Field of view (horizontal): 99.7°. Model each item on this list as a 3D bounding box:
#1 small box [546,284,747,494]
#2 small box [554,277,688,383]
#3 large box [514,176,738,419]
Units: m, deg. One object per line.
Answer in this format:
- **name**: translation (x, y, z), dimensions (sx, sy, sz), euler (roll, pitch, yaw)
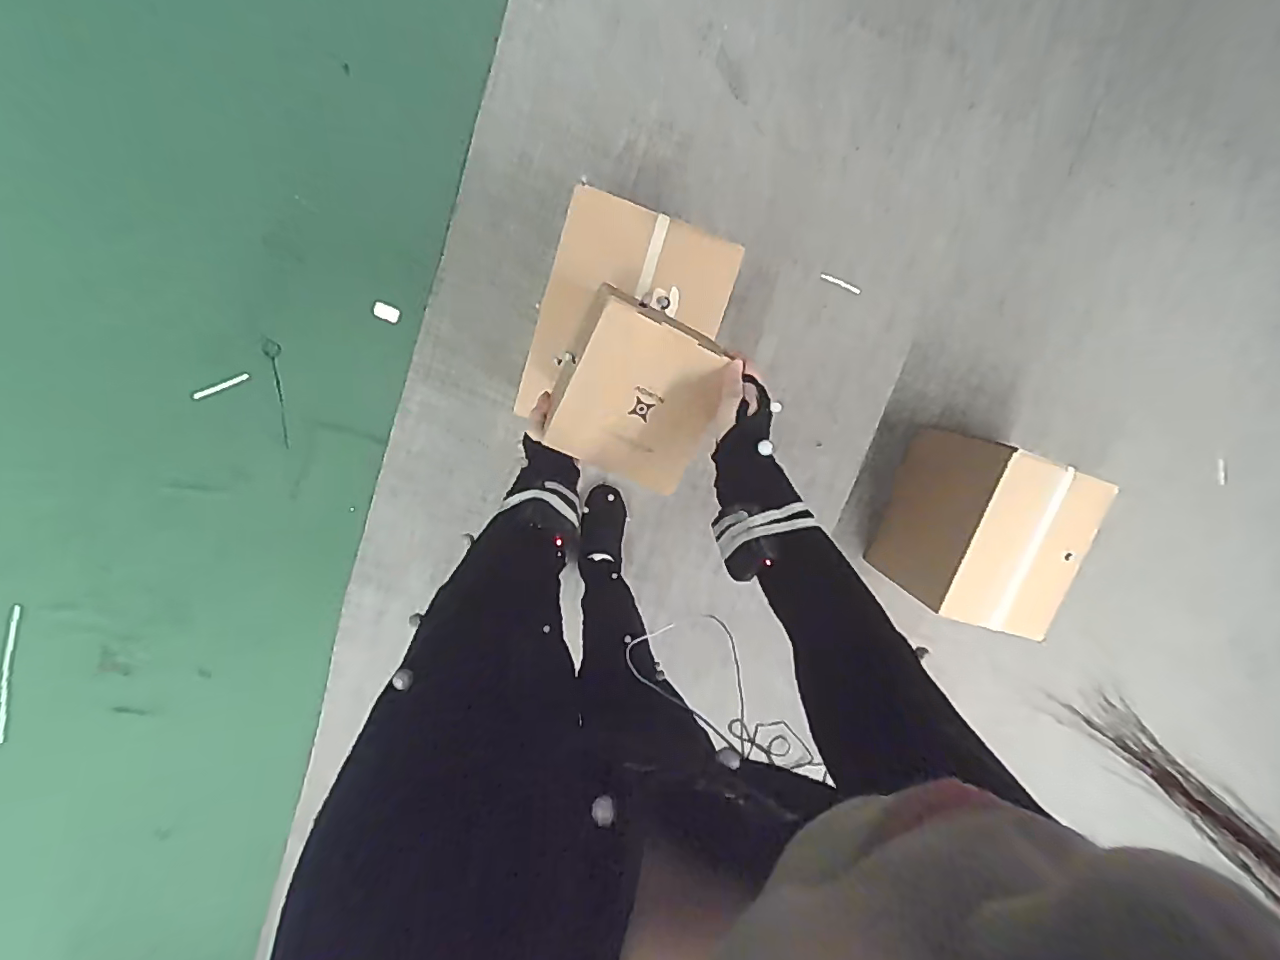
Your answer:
- **small box**: translation (-0.004, -0.118, 0.655), dimensions (0.168, 0.176, 0.179), euler (24, 111, -17)
- **small box**: translation (-0.031, -0.200, 0.871), dimensions (0.168, 0.176, 0.179), euler (26, 100, -15)
- **large box**: translation (-0.048, -0.310, 1.094), dimensions (0.320, 0.320, 0.408), euler (15, 101, -14)
